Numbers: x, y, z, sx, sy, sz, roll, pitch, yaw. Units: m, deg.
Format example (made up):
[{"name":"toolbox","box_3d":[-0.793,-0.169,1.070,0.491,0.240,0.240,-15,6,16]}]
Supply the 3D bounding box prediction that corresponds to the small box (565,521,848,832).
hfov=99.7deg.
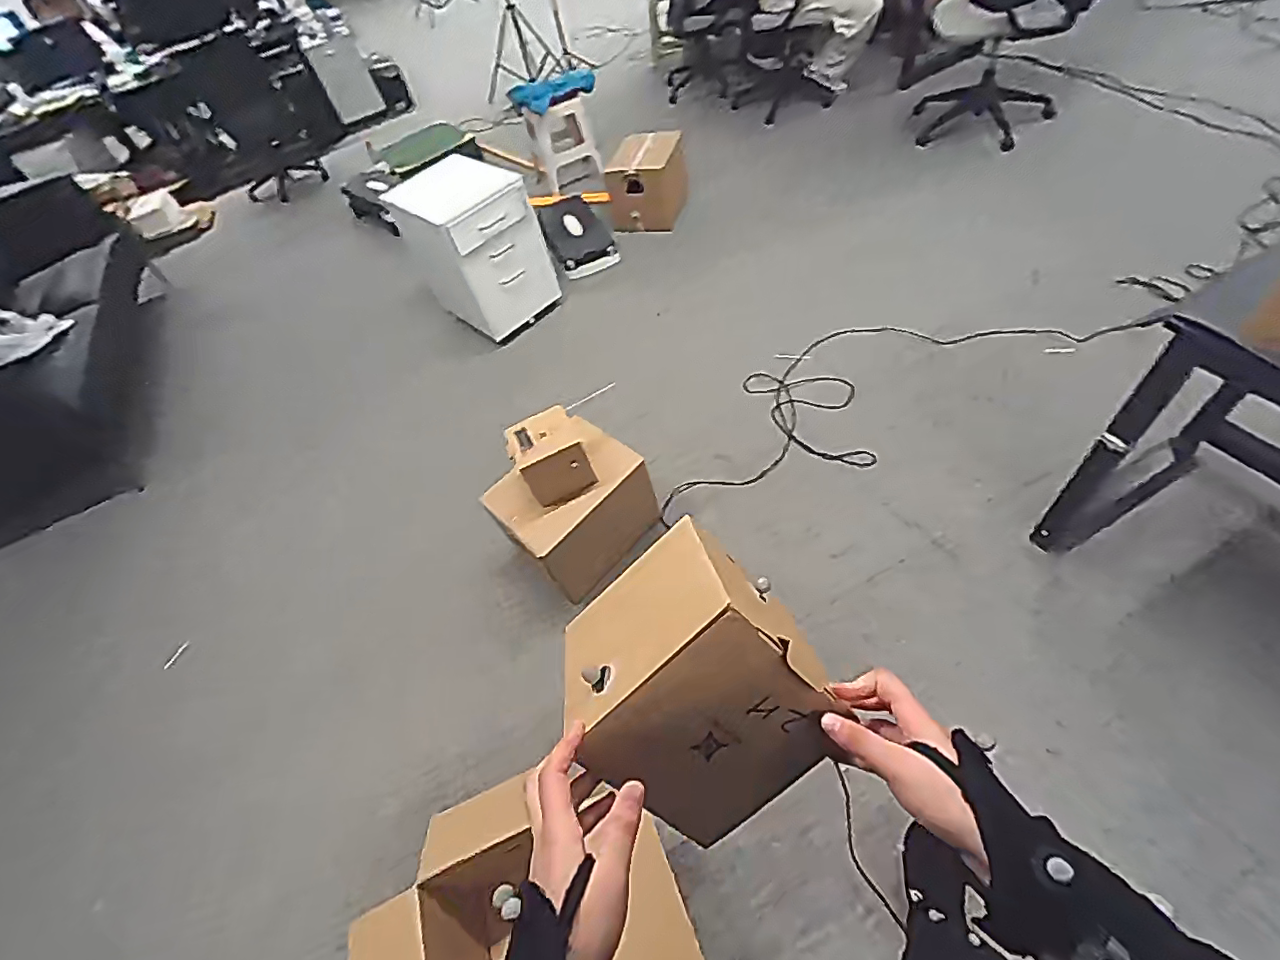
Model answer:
[{"name":"small box","box_3d":[0.049,0.172,0.511,0.179,0.168,0.176,-45,18,9]}]

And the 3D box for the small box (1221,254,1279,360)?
[{"name":"small box","box_3d":[1.058,-0.288,0.813,0.179,0.176,0.168,-33,53,-11]}]
